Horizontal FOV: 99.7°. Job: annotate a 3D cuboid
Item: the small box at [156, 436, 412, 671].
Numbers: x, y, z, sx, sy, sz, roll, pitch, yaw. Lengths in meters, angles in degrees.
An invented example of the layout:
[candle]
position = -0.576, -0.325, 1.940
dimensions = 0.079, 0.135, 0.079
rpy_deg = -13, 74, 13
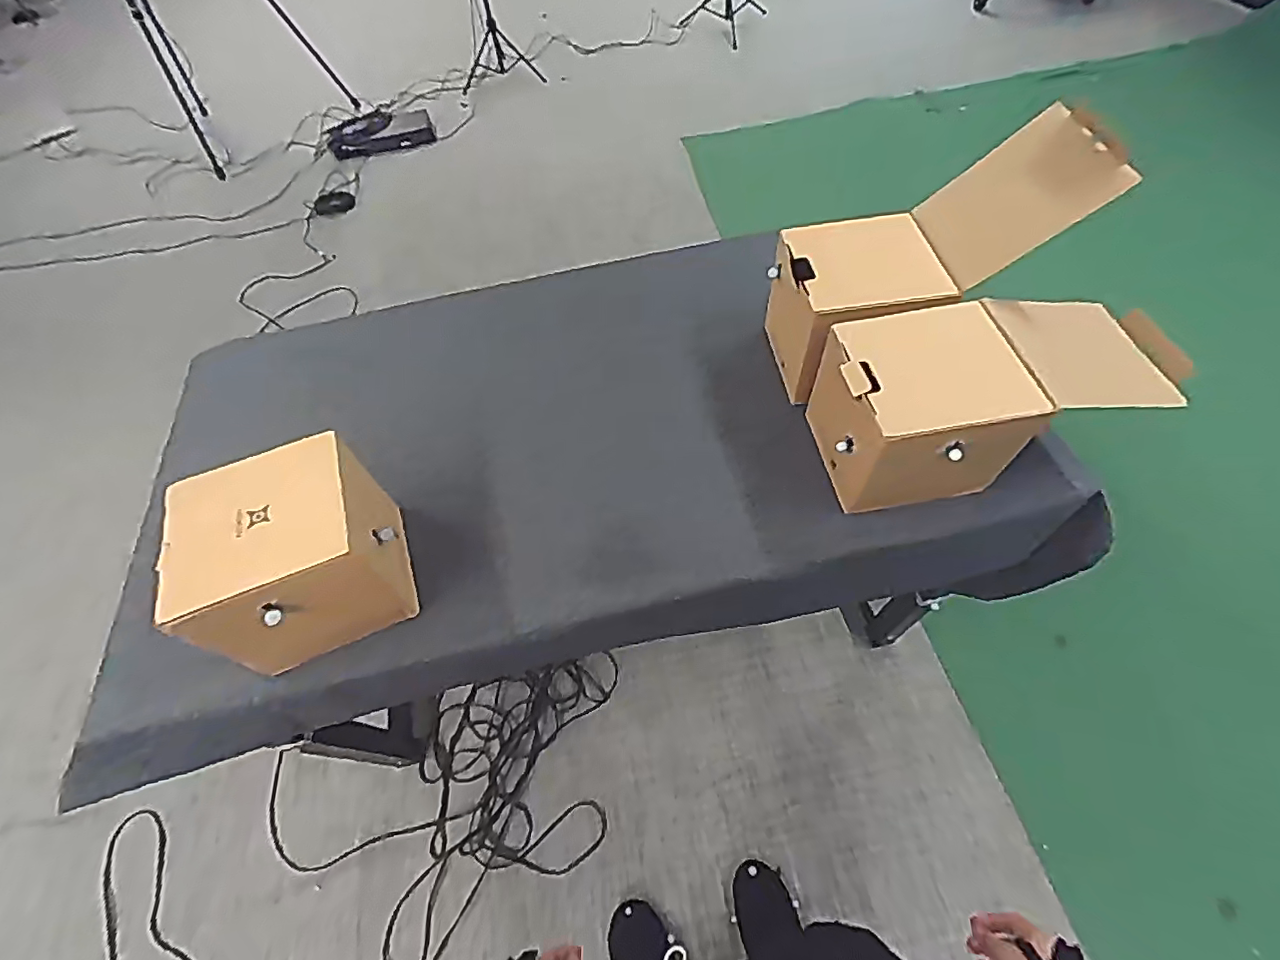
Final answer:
[small box]
position = -0.373, 0.086, 0.599
dimensions = 0.179, 0.176, 0.168
rpy_deg = -22, 57, -8
